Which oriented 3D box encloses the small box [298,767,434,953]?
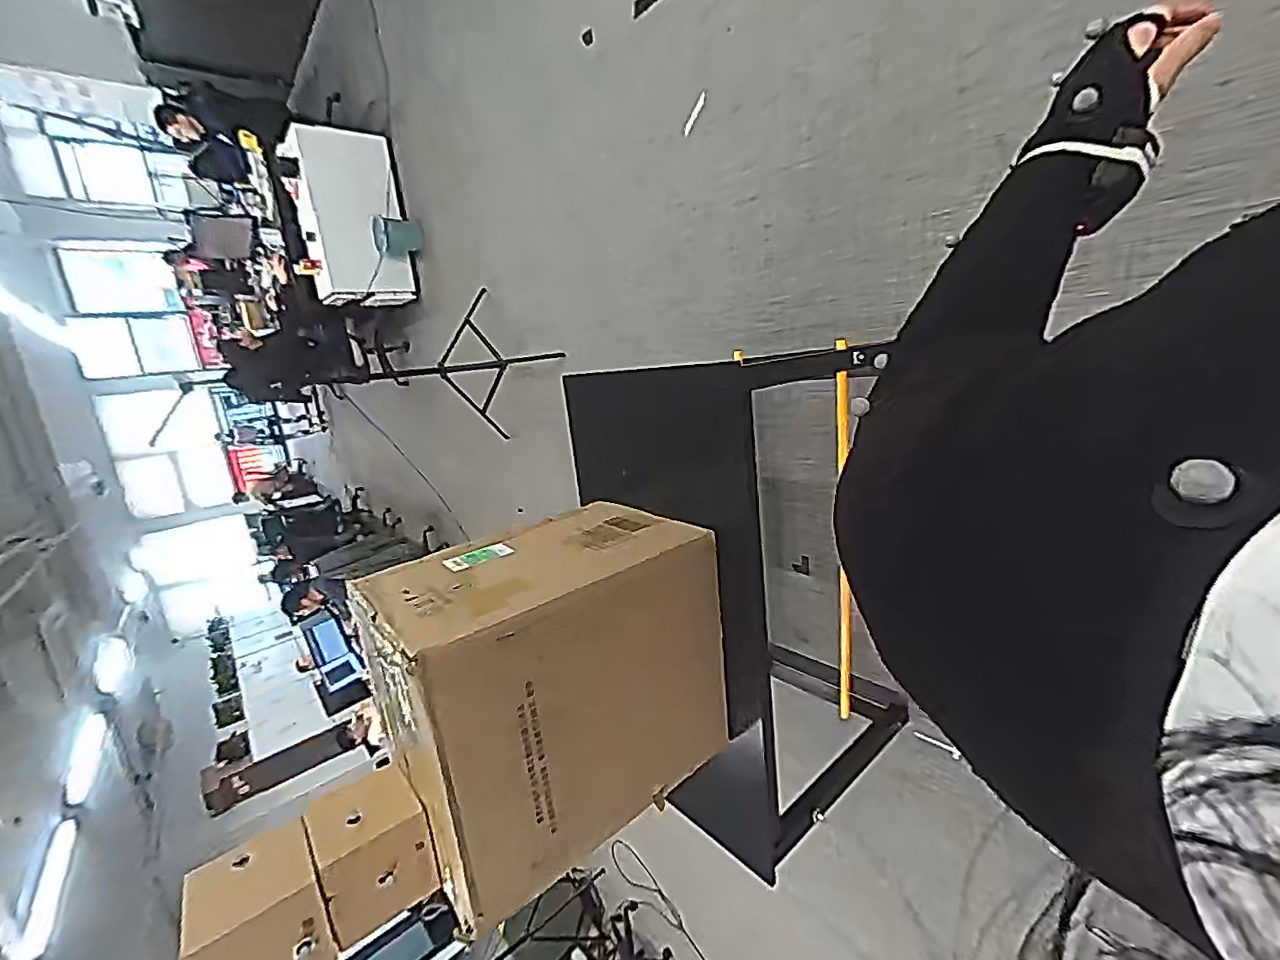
[{"bbox_3d":[-0.478,0.652,0.956,0.179,0.176,0.168,8,109,50],"label":"small box"}]

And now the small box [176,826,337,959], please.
[{"bbox_3d":[-0.594,0.691,0.848,0.179,0.176,0.168,7,109,50],"label":"small box"}]
